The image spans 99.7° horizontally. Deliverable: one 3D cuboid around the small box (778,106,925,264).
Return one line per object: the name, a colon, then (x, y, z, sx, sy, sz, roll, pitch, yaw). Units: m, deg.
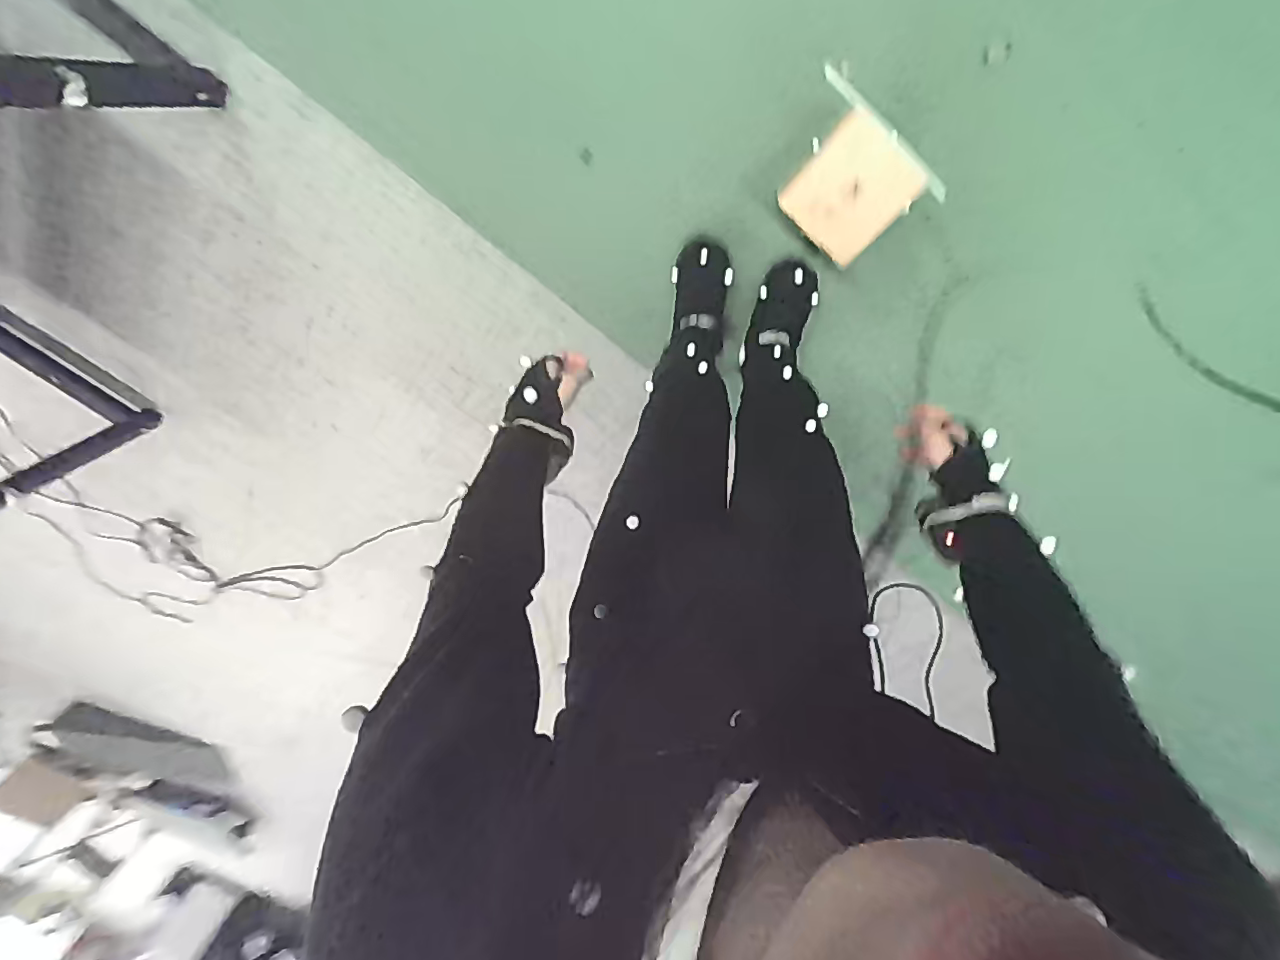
small box: (0.360, -0.524, 0.959, 0.168, 0.176, 0.179, 38, 123, -13)
